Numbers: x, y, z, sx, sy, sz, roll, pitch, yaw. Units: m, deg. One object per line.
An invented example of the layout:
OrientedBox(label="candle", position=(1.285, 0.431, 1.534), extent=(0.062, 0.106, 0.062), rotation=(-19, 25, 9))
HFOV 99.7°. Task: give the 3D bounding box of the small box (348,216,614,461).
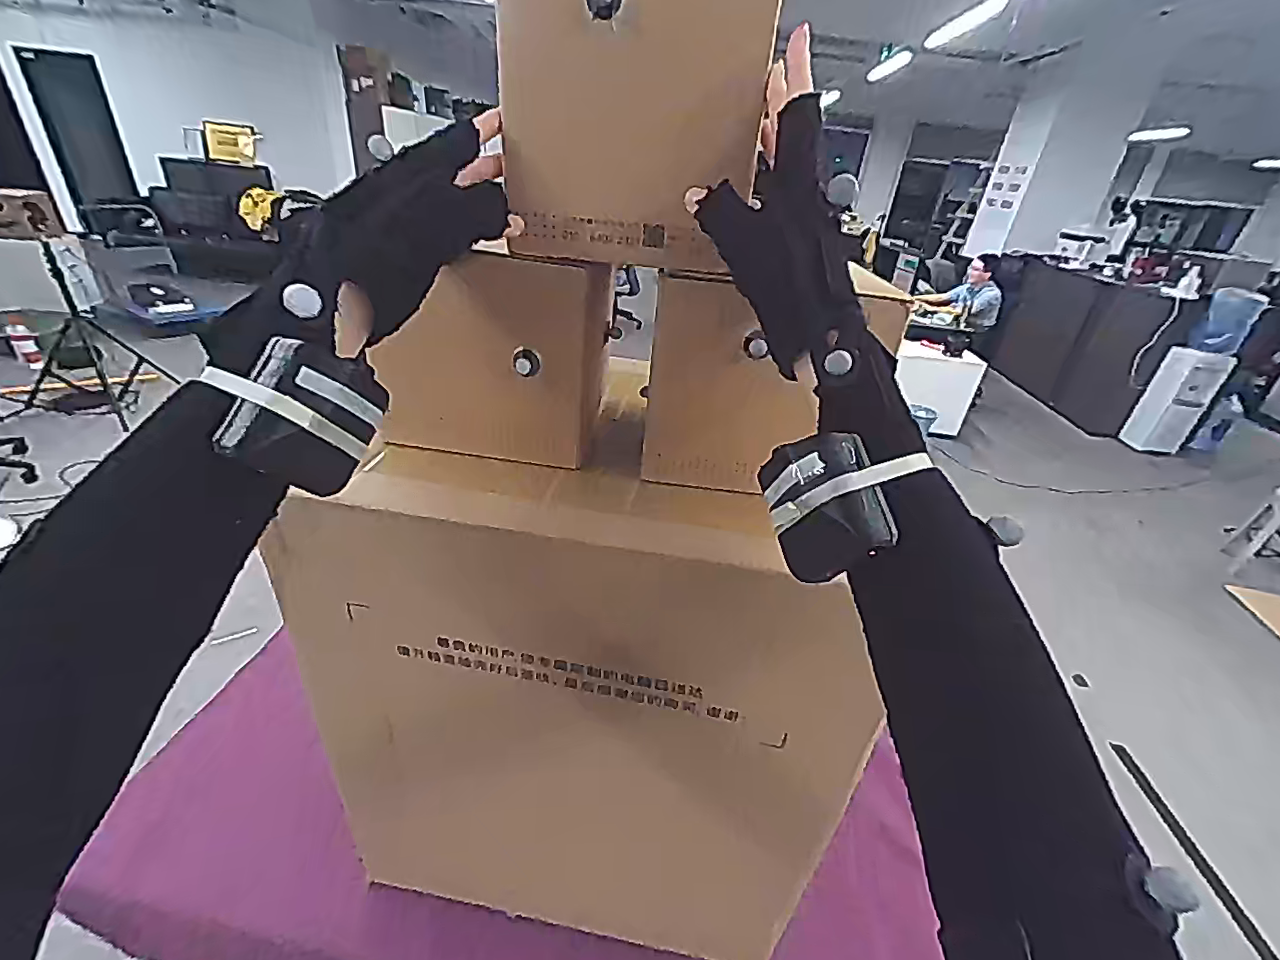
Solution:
OrientedBox(label="small box", position=(-0.124, -0.131, 0.489), extent=(0.179, 0.176, 0.168), rotation=(7, 29, 2))

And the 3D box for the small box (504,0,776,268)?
OrientedBox(label="small box", position=(0.000, -0.264, 0.413), extent=(0.168, 0.176, 0.179), rotation=(6, 29, 3))

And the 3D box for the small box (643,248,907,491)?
OrientedBox(label="small box", position=(0.098, -0.104, 0.478), extent=(0.179, 0.176, 0.168), rotation=(7, 30, 2))
